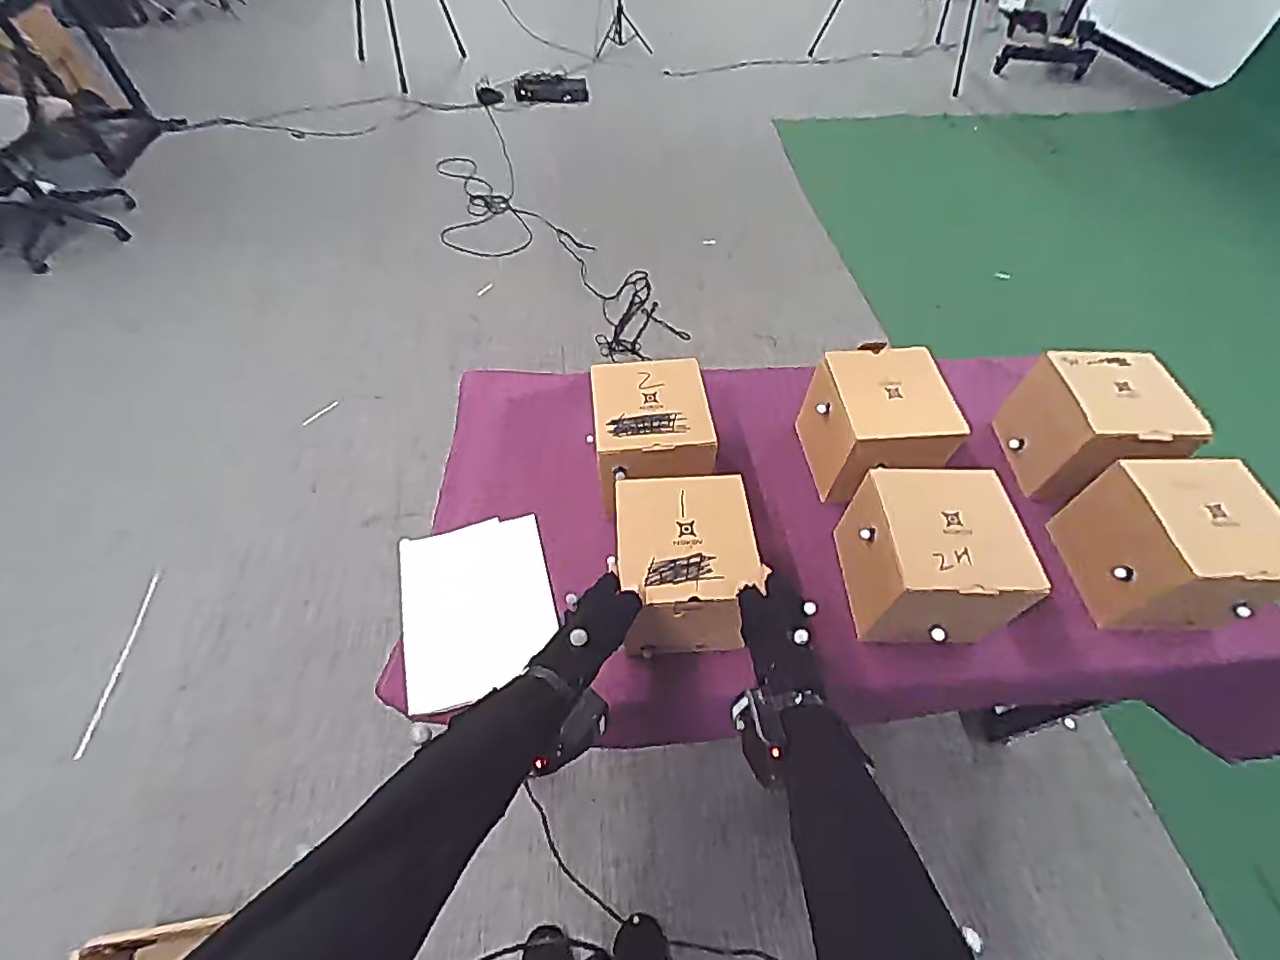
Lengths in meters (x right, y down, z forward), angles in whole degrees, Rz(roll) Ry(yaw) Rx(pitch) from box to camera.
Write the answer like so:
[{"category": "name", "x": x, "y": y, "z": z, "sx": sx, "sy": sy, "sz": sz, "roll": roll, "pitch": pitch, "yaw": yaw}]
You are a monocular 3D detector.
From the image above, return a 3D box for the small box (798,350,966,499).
[{"category": "small box", "x": 0.368, "y": -0.081, "z": 0.859, "sx": 0.168, "sy": 0.176, "sz": 0.179, "roll": -4, "pitch": 54, "yaw": -3}]

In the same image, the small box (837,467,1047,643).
[{"category": "small box", "x": 0.380, "y": 0.102, "z": 0.723, "sx": 0.168, "sy": 0.176, "sz": 0.179, "roll": 1, "pitch": 54, "yaw": 0}]

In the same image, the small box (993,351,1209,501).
[{"category": "small box", "x": 0.708, "y": -0.082, "z": 0.860, "sx": 0.168, "sy": 0.176, "sz": 0.179, "roll": 2, "pitch": 55, "yaw": 1}]

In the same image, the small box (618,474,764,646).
[{"category": "small box", "x": 0.057, "y": 0.112, "z": 0.711, "sx": 0.168, "sy": 0.176, "sz": 0.179, "roll": -2, "pitch": 54, "yaw": -1}]
